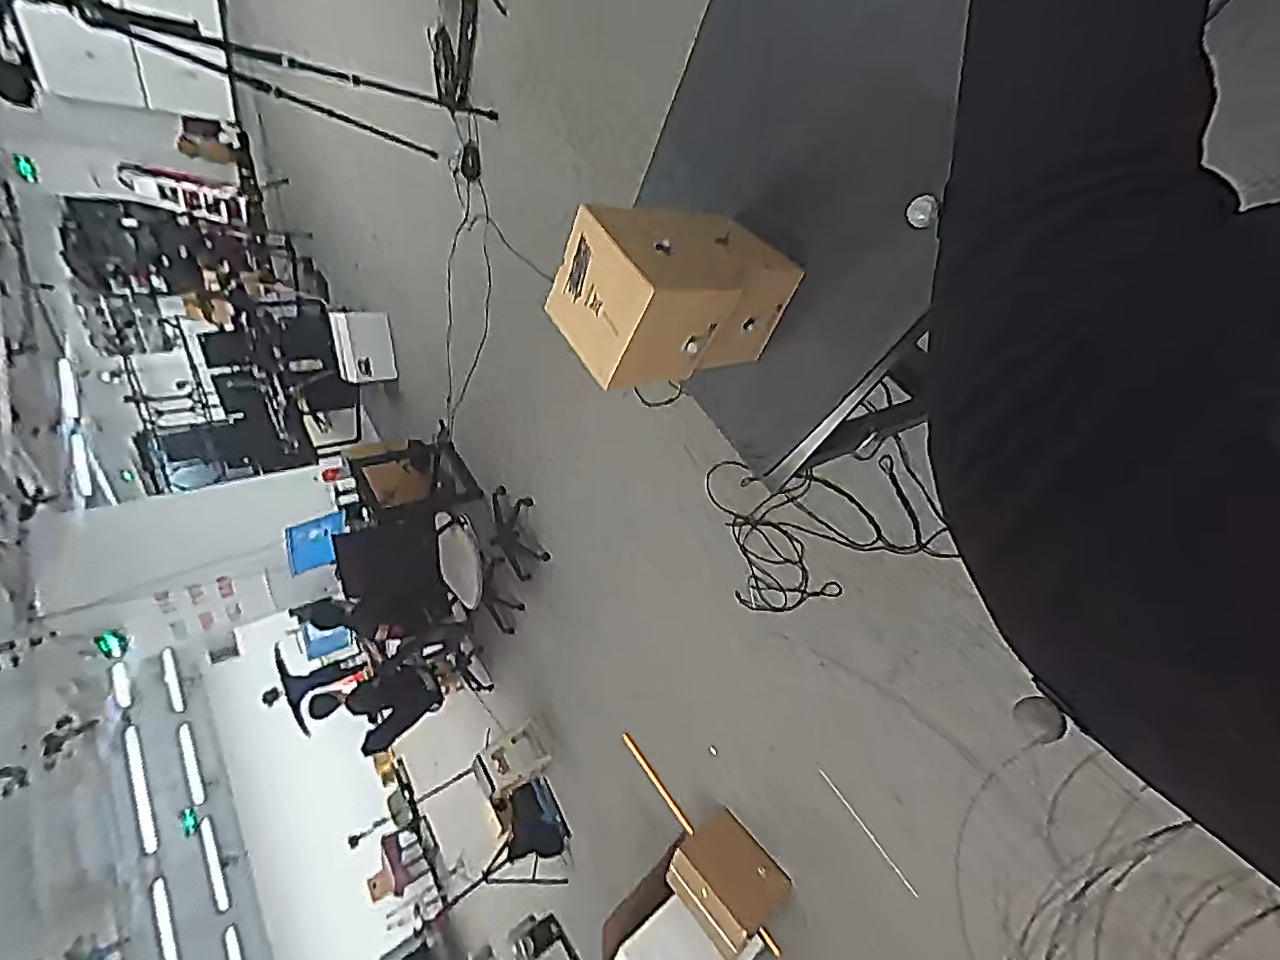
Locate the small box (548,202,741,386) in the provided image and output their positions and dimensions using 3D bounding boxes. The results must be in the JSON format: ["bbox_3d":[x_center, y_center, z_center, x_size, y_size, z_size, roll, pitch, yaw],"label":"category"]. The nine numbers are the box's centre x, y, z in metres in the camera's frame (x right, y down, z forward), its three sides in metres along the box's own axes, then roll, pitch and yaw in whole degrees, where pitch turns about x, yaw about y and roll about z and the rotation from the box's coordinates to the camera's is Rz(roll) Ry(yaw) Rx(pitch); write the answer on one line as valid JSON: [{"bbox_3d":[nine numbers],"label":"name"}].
[{"bbox_3d":[0.003,-0.254,0.755,0.179,0.176,0.168,55,138,21],"label":"small box"}]

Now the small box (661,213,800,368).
[{"bbox_3d":[0.118,-0.303,0.863,0.179,0.176,0.168,50,136,27],"label":"small box"}]
